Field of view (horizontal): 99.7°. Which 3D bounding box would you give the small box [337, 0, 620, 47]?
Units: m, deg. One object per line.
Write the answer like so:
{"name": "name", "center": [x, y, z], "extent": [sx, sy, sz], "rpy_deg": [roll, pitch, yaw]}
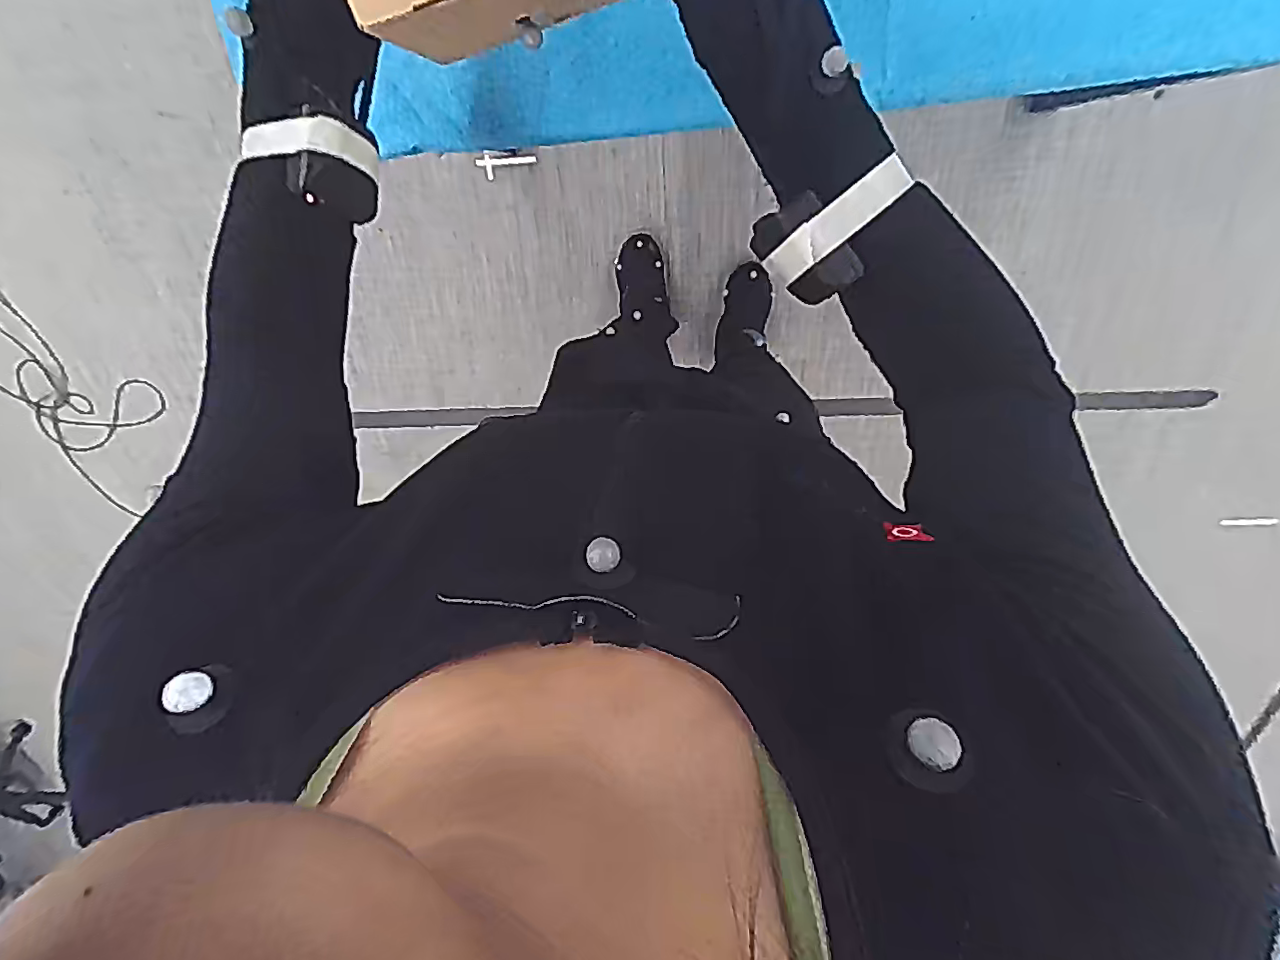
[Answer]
{"name": "small box", "center": [-0.100, -0.380, 0.310], "extent": [0.168, 0.176, 0.179], "rpy_deg": [-10, 125, 6]}
